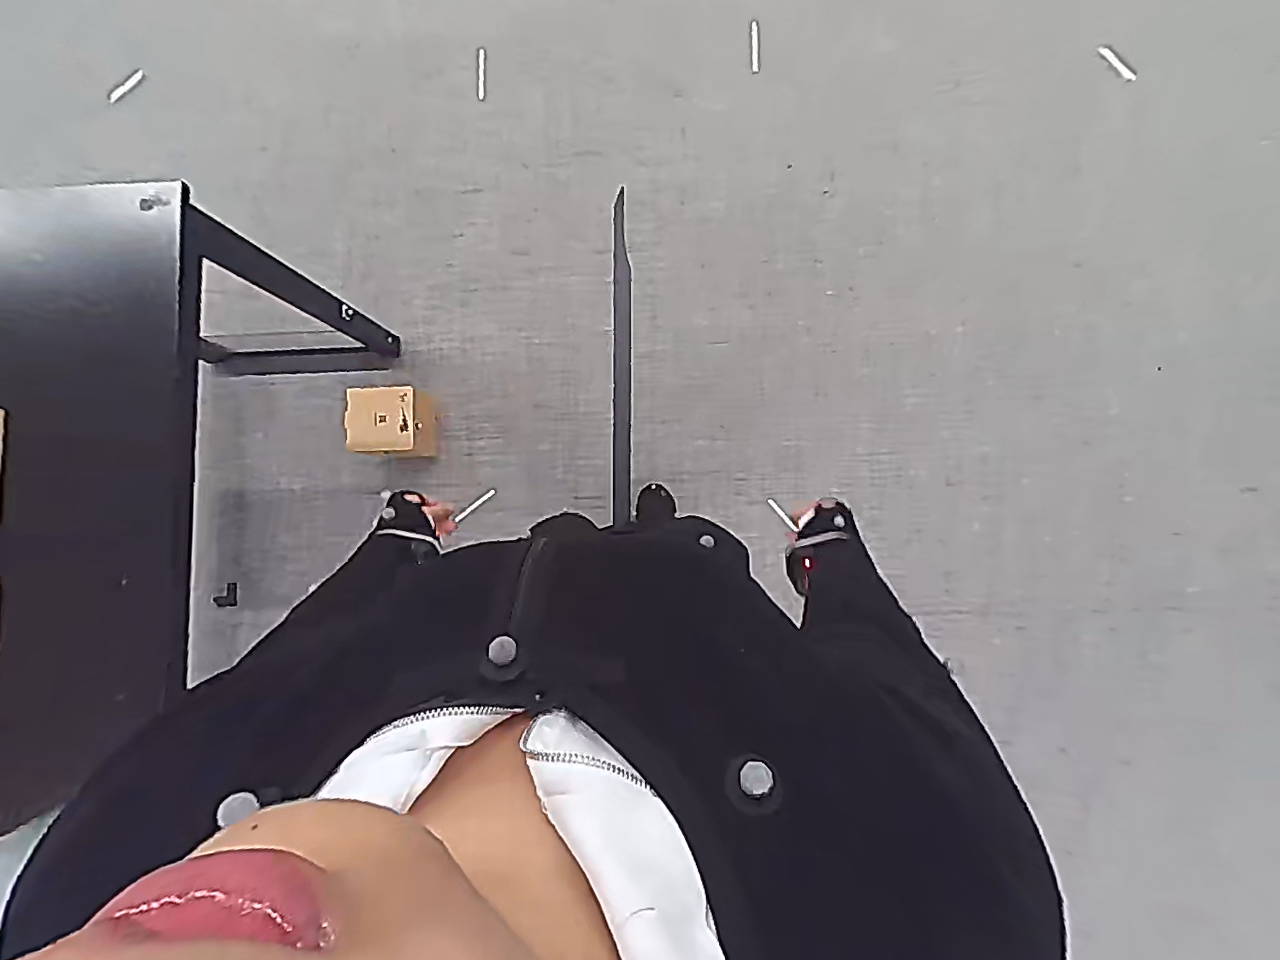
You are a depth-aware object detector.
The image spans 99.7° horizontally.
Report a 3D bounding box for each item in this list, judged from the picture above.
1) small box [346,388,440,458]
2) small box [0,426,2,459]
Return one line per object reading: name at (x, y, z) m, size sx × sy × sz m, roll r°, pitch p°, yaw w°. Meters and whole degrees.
small box at (-0.661, -0.149, 1.458) m, size 0.179 × 0.176 × 0.168 m, roll -1°, pitch 87°, yaw 3°
small box at (-1.046, -0.027, 0.738) m, size 0.168 × 0.176 × 0.179 m, roll -1°, pitch 87°, yaw 3°
